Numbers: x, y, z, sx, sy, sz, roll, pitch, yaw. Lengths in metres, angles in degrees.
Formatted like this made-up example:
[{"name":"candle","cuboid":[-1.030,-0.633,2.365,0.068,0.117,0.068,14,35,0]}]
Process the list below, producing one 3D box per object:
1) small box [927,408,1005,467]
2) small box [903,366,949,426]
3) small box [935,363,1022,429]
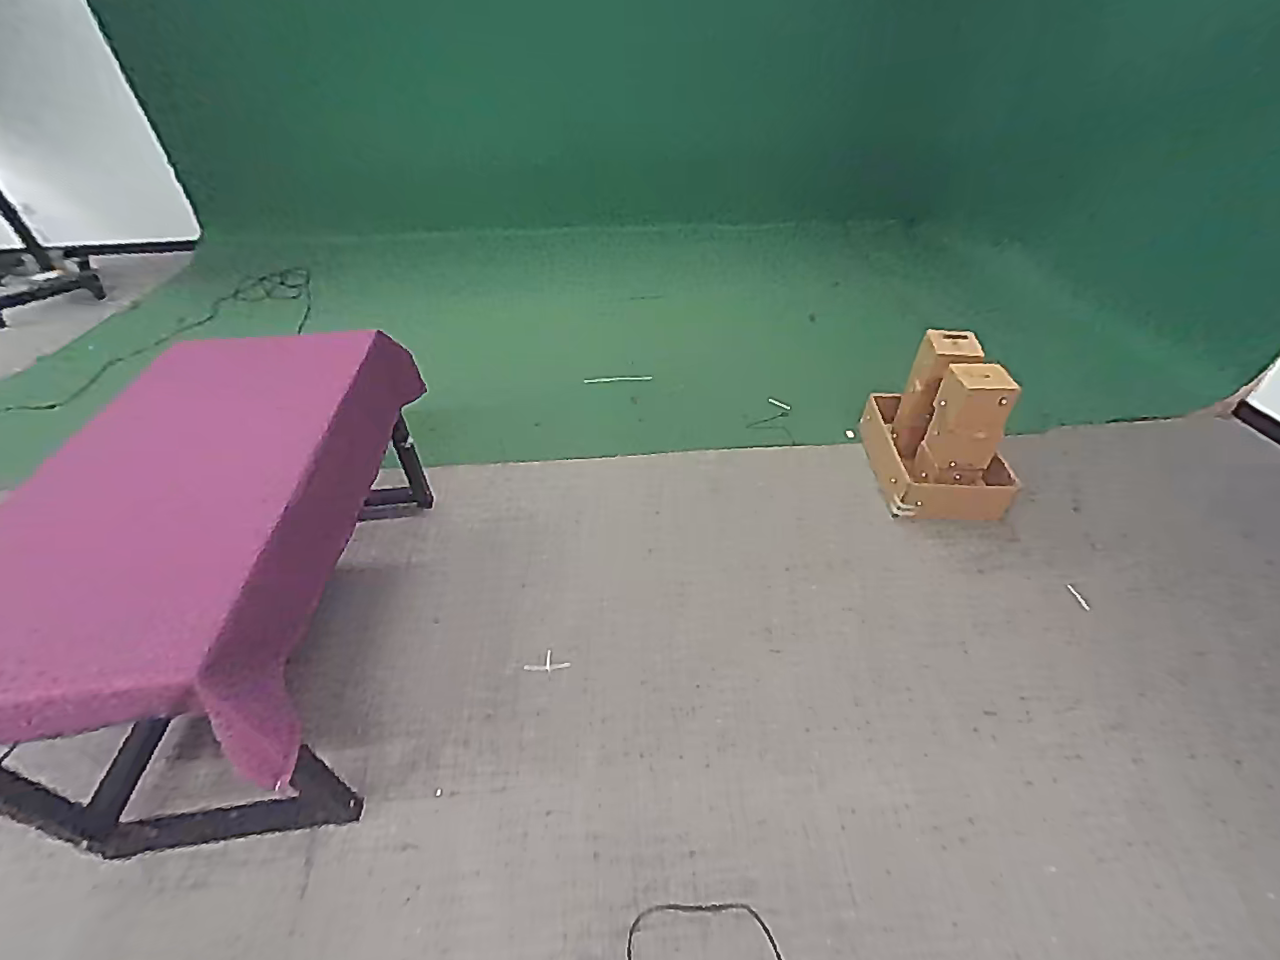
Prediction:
[{"name":"small box","cuboid":[1.174,-0.158,1.962,0.168,0.176,0.179,0,40,4]},{"name":"small box","cuboid":[1.168,-0.333,2.164,0.168,0.176,0.179,8,45,12]},{"name":"small box","cuboid":[1.156,-0.287,1.860,0.179,0.176,0.168,0,40,4]}]
